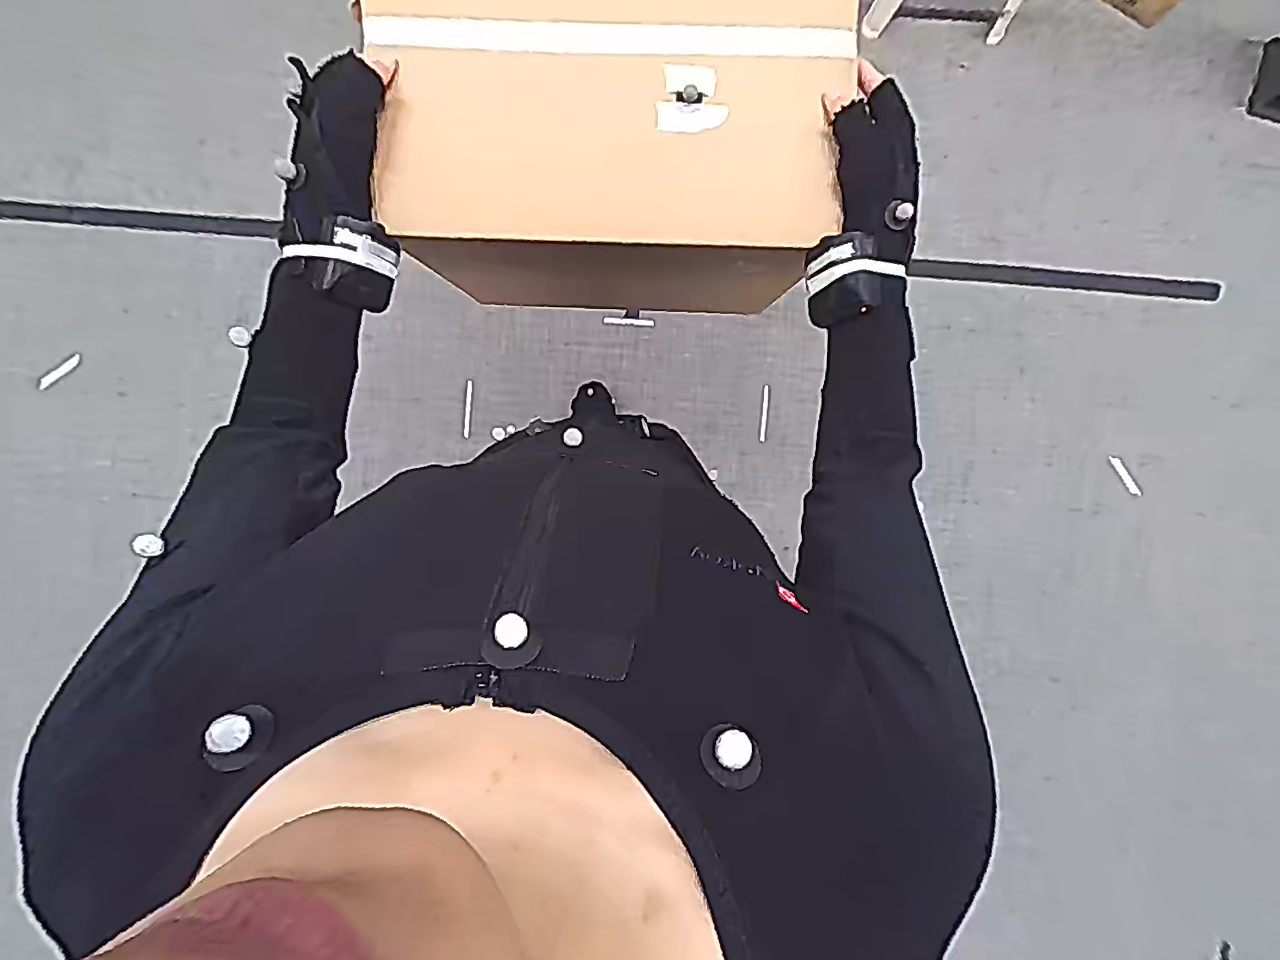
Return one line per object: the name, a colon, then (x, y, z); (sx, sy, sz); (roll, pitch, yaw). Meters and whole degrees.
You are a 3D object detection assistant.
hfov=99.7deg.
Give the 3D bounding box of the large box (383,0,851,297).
large box: (-0.023, -0.396, 0.609); (0.408, 0.320, 0.320); (1, 98, -1)
